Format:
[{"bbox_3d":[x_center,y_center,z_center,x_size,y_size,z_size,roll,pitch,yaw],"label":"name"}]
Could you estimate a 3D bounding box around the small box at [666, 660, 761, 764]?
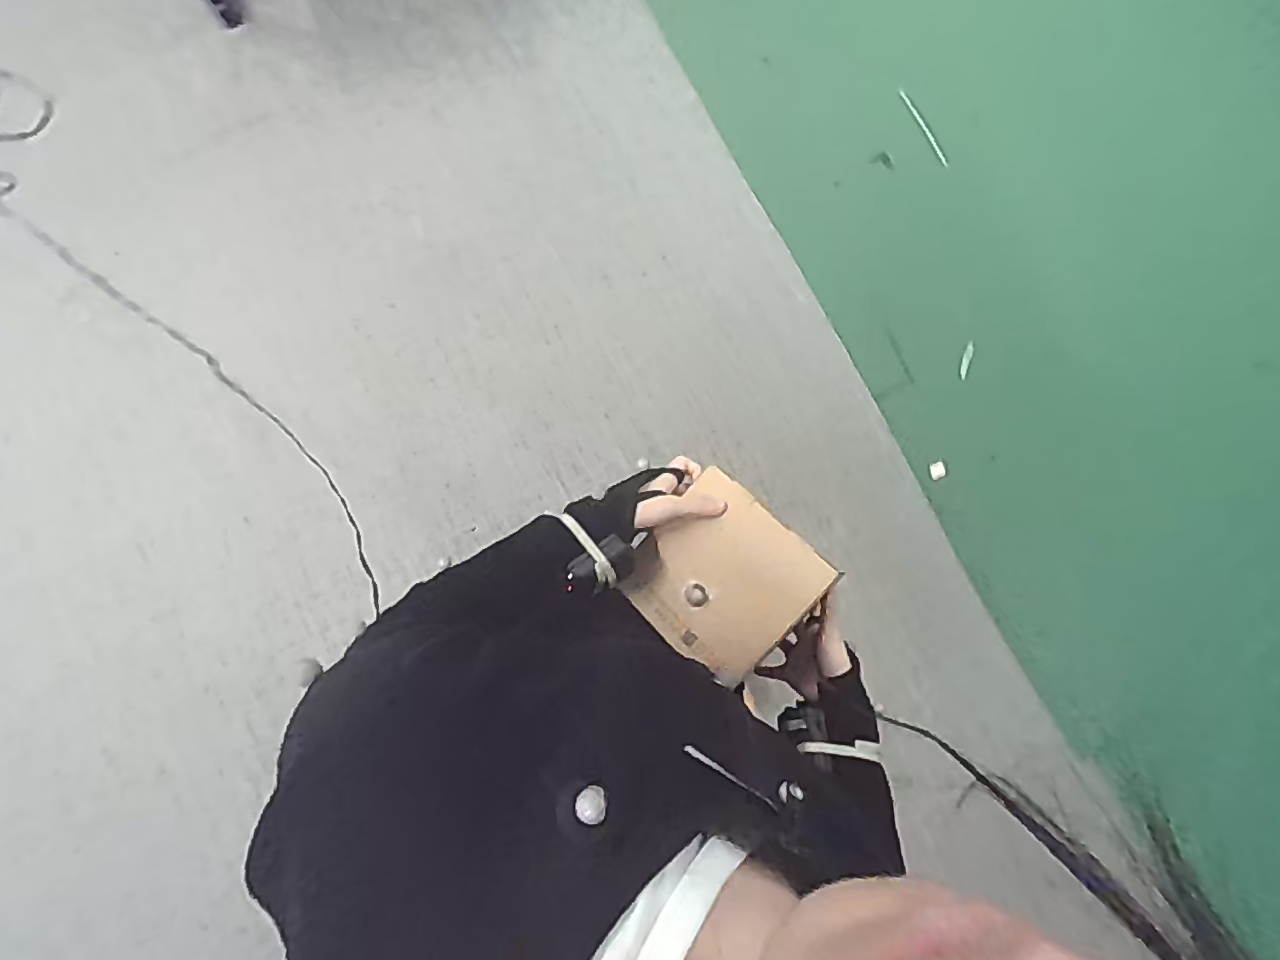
[{"bbox_3d":[0.180,0.590,1.400,0.179,0.176,0.168,-29,84,-10],"label":"small box"}]
